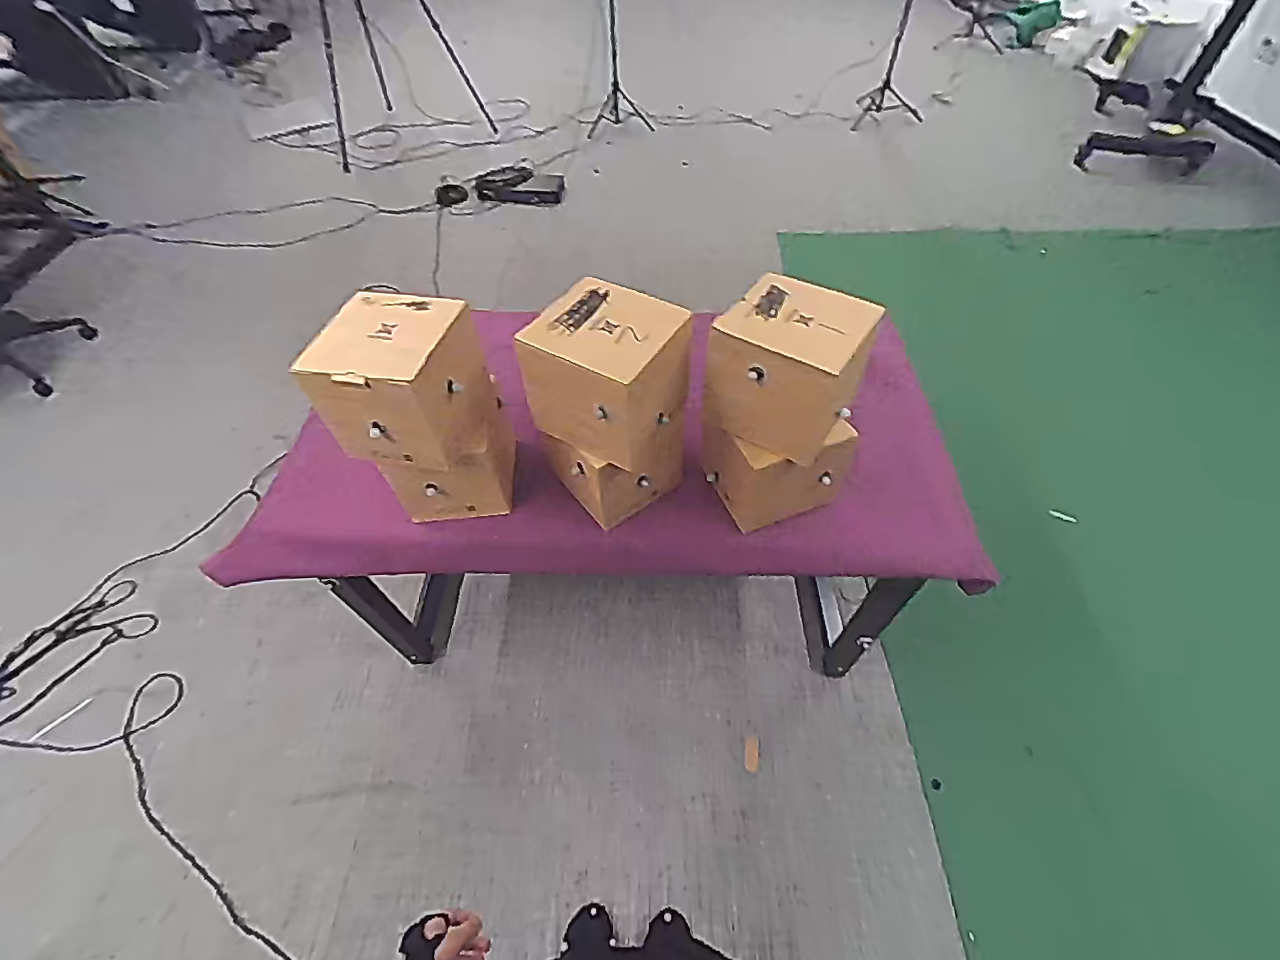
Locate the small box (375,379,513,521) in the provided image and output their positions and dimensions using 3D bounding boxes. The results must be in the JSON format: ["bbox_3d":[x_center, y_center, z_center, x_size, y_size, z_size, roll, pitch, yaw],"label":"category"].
[{"bbox_3d":[-0.313,-0.044,0.904,0.168,0.176,0.179,-5,51,-3],"label":"small box"}]

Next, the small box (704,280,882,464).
[{"bbox_3d":[0.206,-0.151,0.769,0.179,0.176,0.168,29,56,22],"label":"small box"}]

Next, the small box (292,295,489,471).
[{"bbox_3d":[-0.331,-0.134,0.766,0.168,0.176,0.179,8,53,7],"label":"small box"}]

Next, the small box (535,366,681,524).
[{"bbox_3d":[-0.049,-0.050,0.900,0.168,0.176,0.179,-31,57,-22],"label":"small box"}]

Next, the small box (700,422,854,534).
[{"bbox_3d":[0.211,-0.039,0.888,0.179,0.176,0.168,-18,52,-12],"label":"small box"}]
